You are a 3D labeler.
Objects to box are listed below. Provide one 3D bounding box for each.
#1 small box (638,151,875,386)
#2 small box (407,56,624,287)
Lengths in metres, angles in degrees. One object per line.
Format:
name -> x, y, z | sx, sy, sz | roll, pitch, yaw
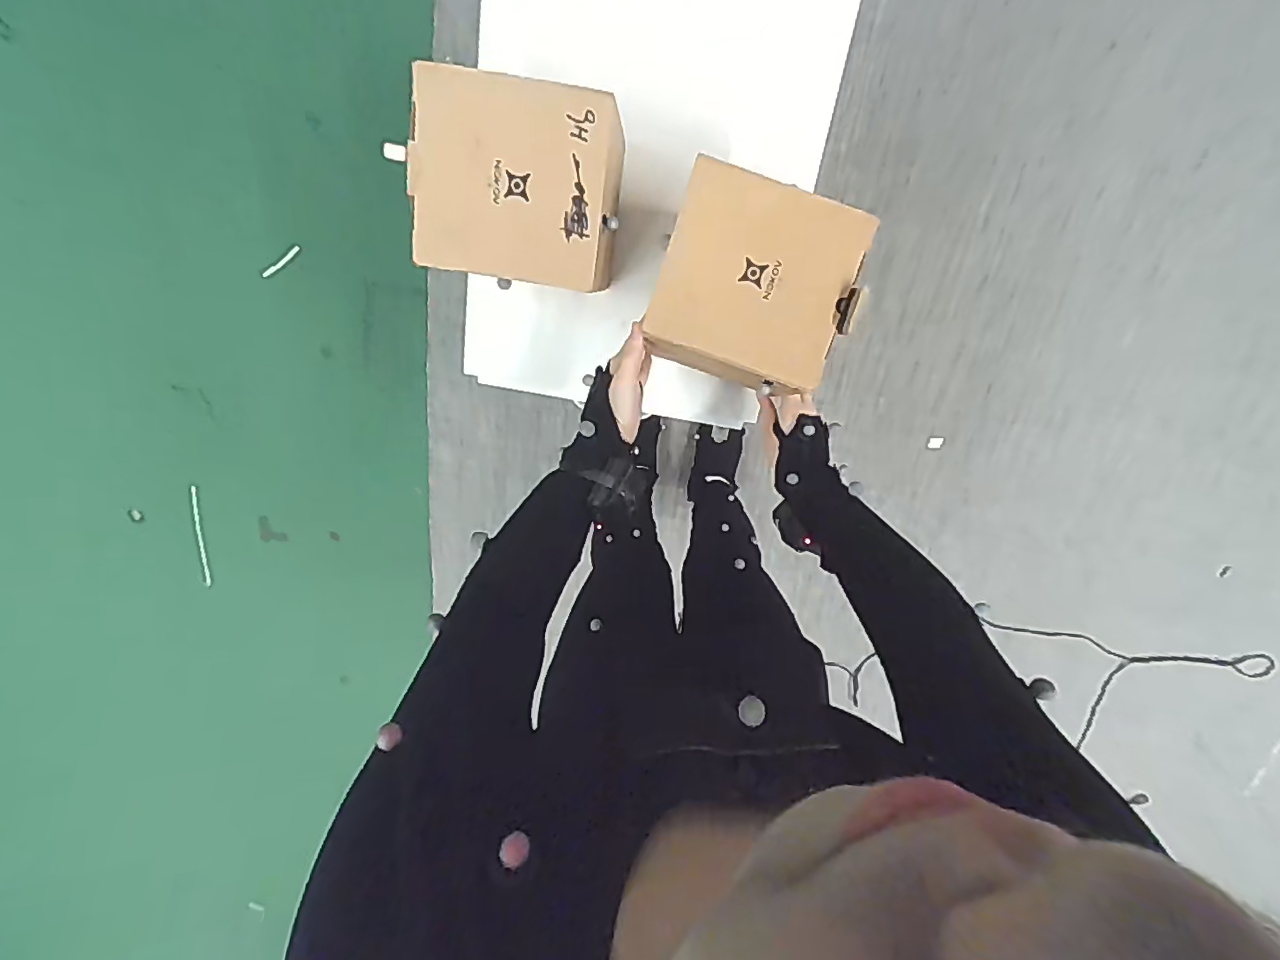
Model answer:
small box -> 0.104, -0.201, 0.570 | 0.179, 0.176, 0.168 | 18, 98, -3
small box -> -0.118, -0.298, 0.559 | 0.179, 0.176, 0.168 | 9, 111, -1
